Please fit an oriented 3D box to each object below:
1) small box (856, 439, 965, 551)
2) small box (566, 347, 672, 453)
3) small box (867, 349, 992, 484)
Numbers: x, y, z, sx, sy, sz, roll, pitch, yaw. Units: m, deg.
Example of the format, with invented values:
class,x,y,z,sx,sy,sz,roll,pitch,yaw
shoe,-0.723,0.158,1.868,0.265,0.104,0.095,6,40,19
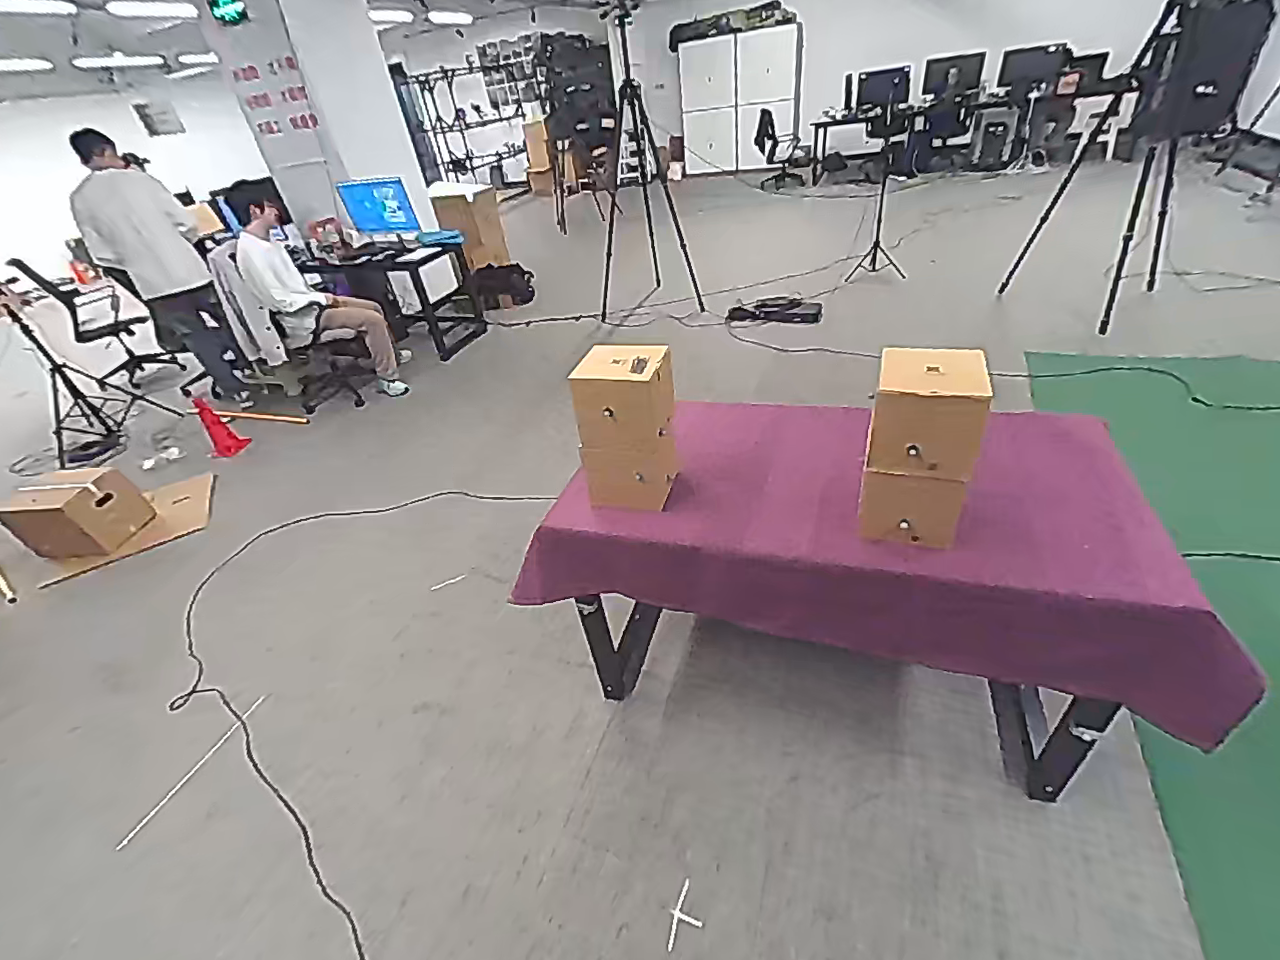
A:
class,x,y,z,sx,sy,sz,roll,pitch,yaw
small box,0.525,0.013,1.066,0.168,0.176,0.179,7,39,22
small box,-0.035,-0.172,1.160,0.179,0.176,0.168,4,38,17
small box,0.507,-0.118,0.969,0.168,0.176,0.179,7,40,21
